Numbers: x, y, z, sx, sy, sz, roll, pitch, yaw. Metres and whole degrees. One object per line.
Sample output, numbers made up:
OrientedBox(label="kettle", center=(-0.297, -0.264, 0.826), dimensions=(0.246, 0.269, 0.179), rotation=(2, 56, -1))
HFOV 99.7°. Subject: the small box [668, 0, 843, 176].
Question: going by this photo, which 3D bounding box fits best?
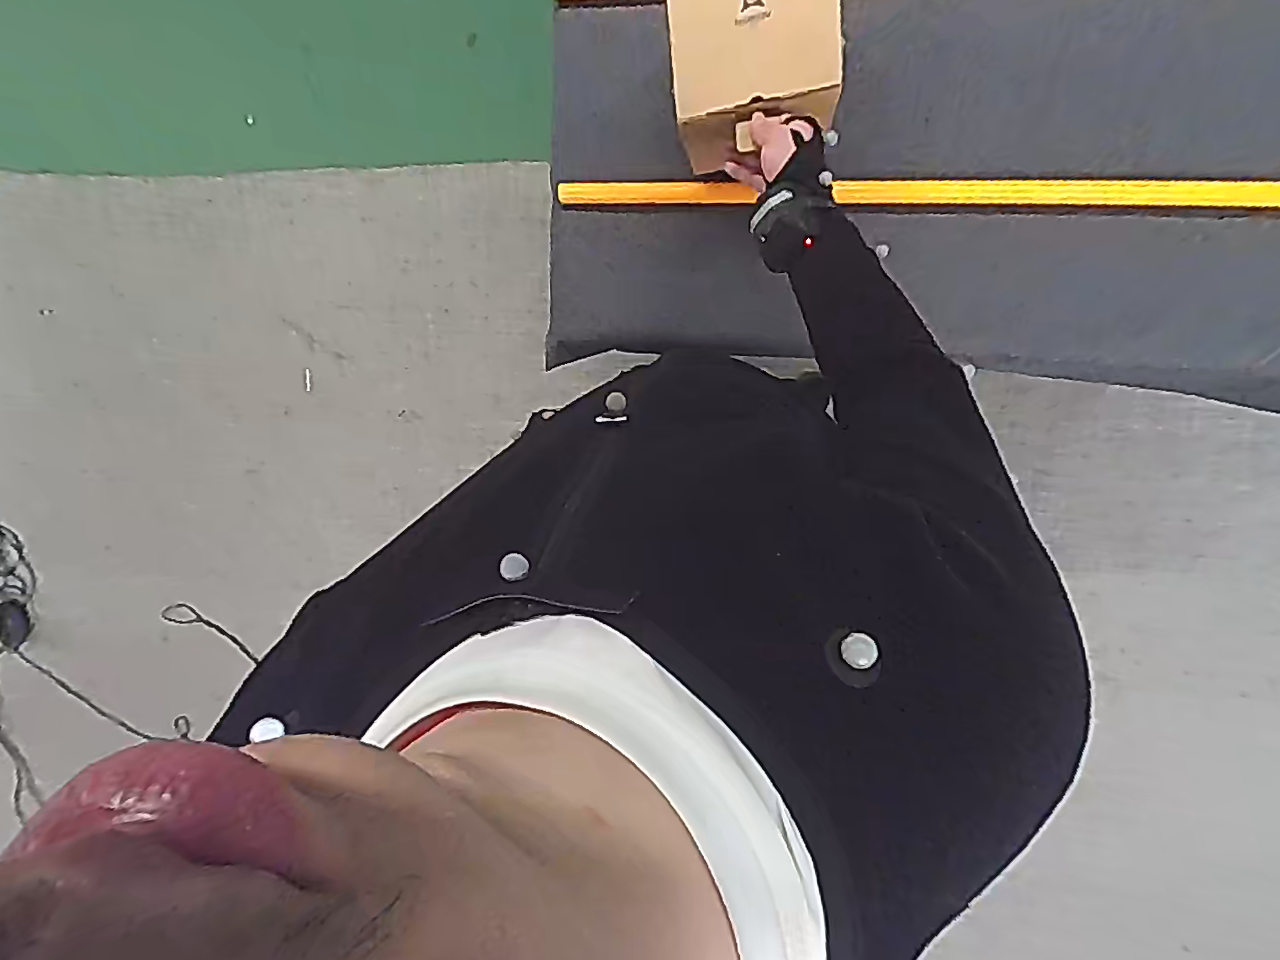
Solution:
OrientedBox(label="small box", center=(0.133, -0.471, 0.616), dimensions=(0.168, 0.176, 0.179), rotation=(-5, 100, 15))
